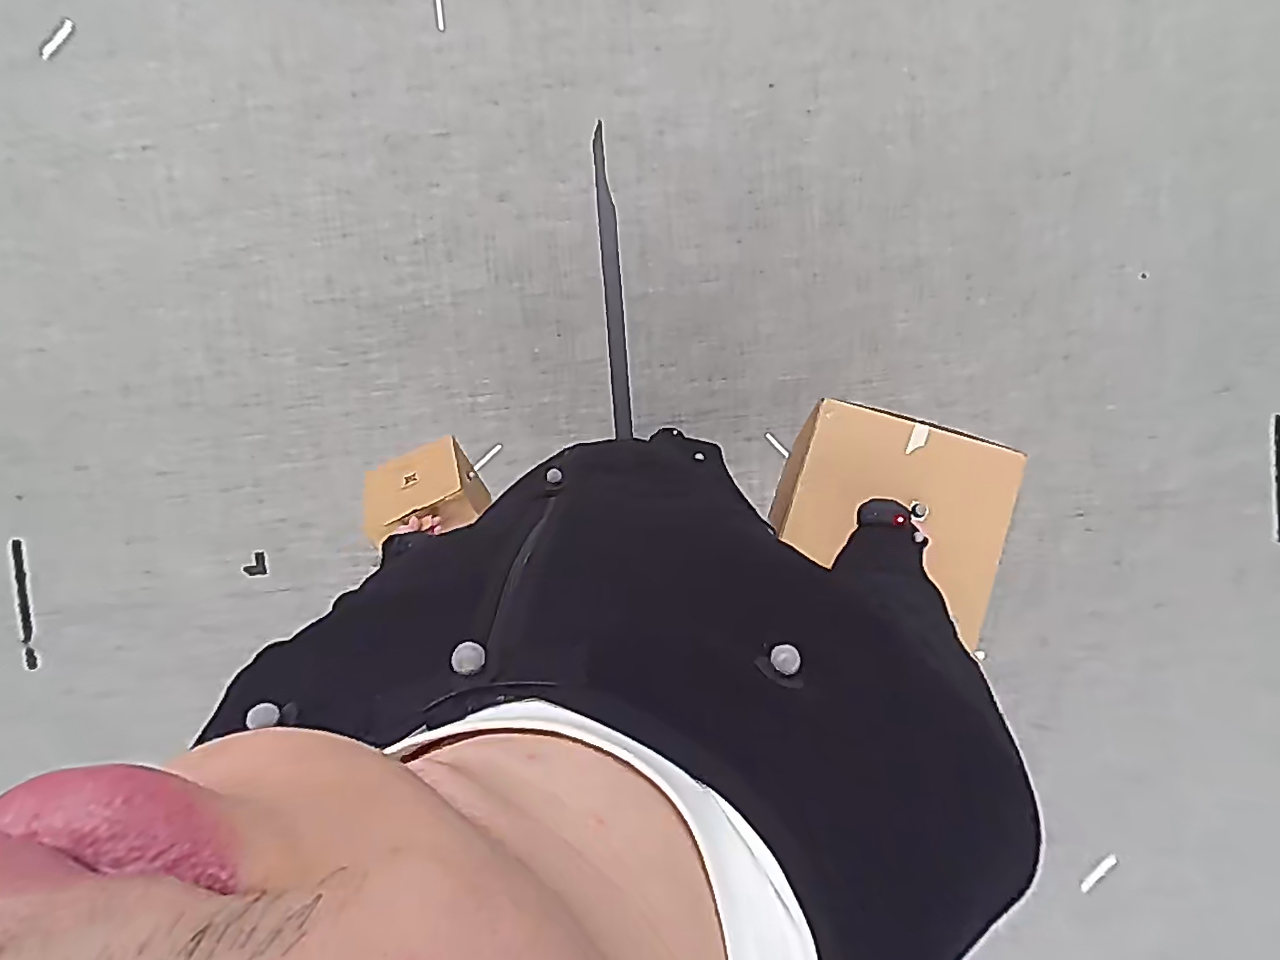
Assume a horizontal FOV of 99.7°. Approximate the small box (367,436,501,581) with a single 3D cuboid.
[{"bbox_3d":[-0.367,0.058,0.976,0.168,0.179,0.176,-25,133,-6],"label":"small box"}]
